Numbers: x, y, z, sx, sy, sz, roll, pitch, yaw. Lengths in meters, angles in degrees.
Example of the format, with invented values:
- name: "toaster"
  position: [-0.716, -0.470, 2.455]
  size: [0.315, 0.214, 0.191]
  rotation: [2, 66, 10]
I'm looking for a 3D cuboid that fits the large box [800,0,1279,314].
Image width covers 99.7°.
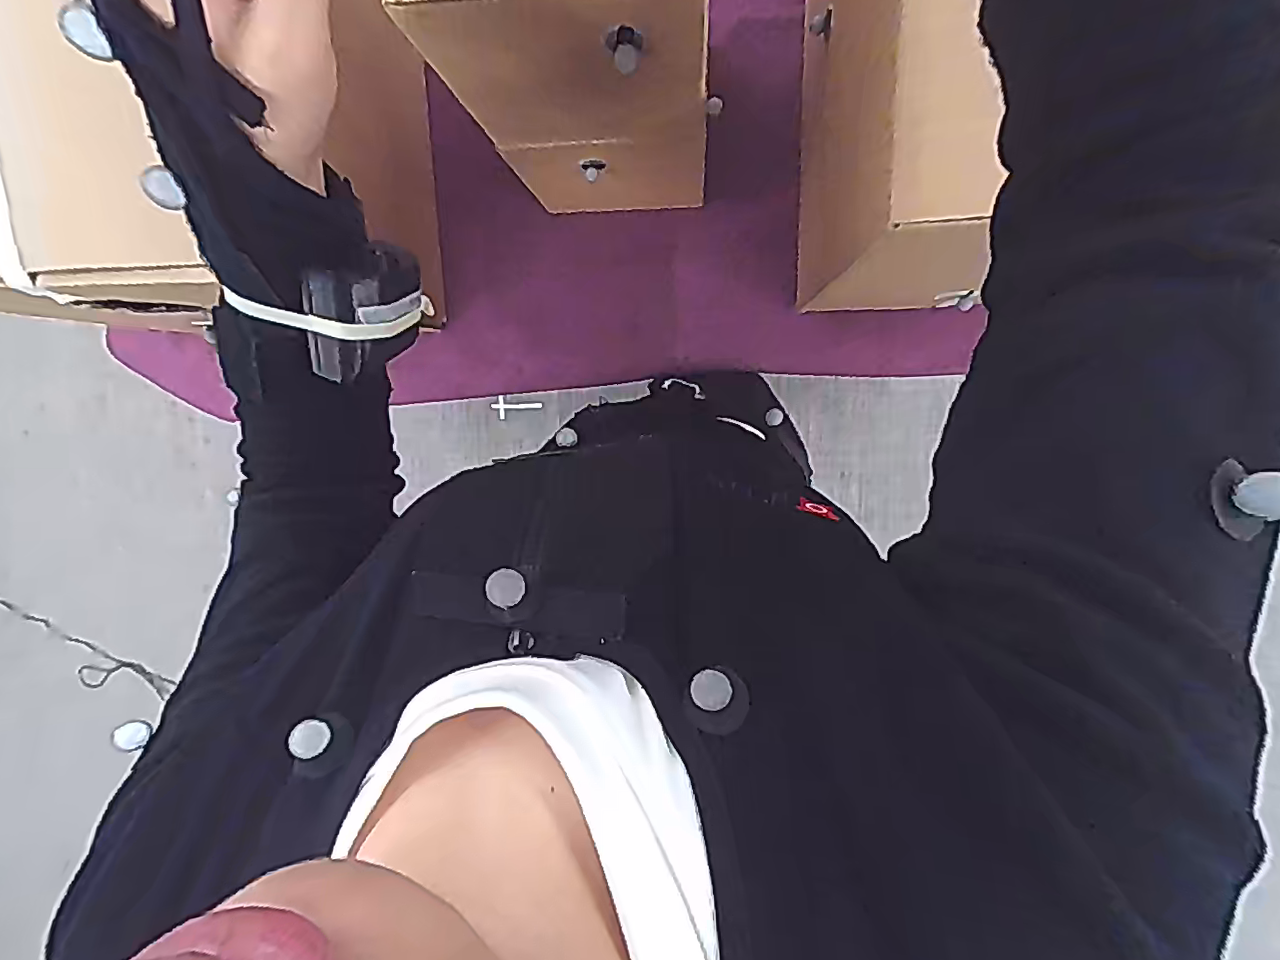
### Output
- name: "large box"
  position: [0.299, -0.360, 0.398]
  size: [0.320, 0.320, 0.408]
  rotation: [-1, 98, 6]
